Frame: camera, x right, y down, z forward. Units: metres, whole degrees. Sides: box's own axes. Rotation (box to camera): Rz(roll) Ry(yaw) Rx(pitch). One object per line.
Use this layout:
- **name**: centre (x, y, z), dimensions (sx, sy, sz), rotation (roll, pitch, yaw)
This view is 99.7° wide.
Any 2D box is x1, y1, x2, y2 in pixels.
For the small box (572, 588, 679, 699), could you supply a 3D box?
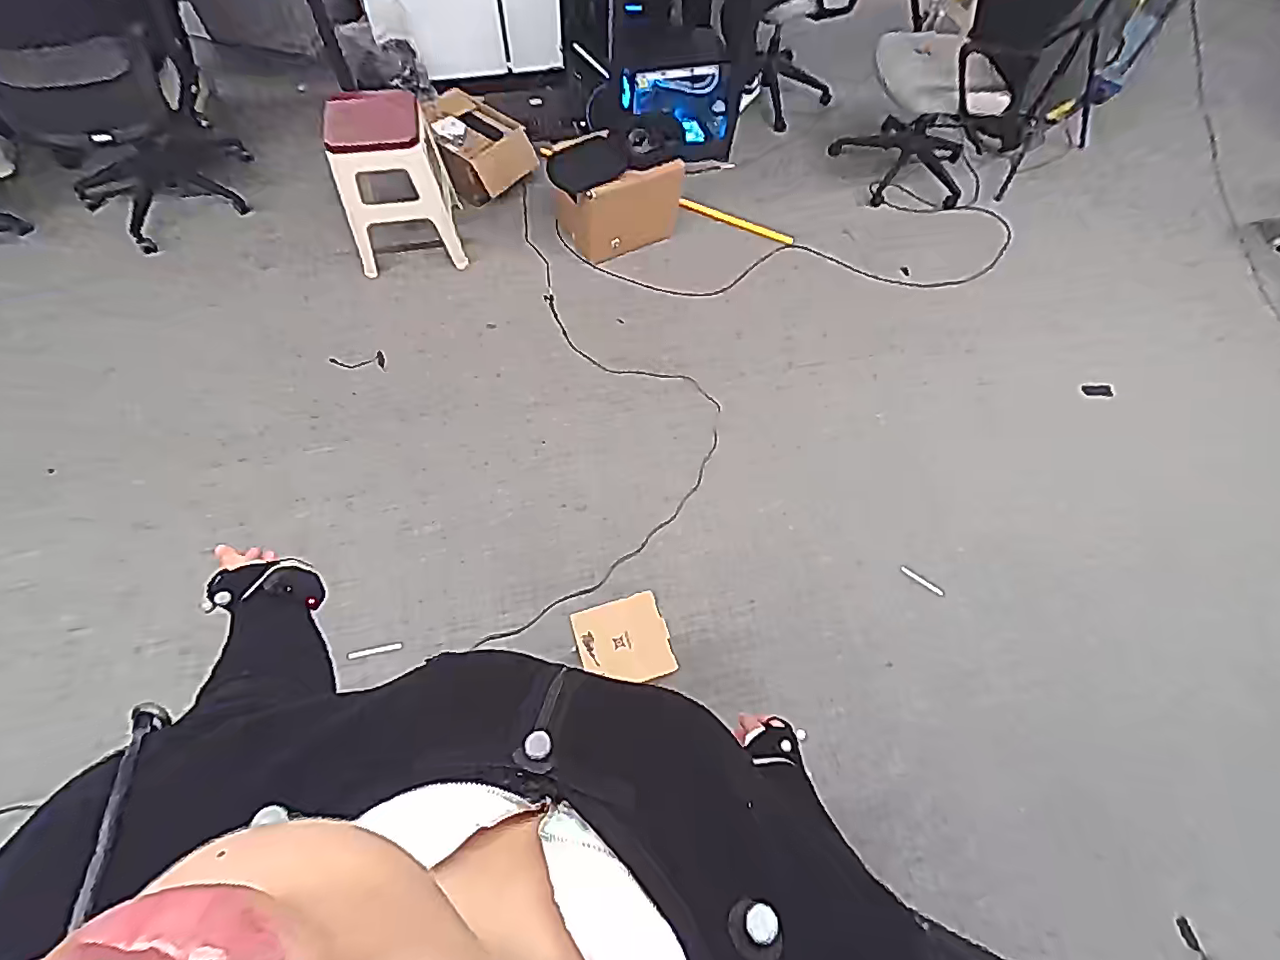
- **small box**: centre (-0.038, 0.345, 1.129), dimensions (0.179, 0.176, 0.168), rotation (-15, 66, -12)

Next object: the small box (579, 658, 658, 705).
- **small box**: centre (-0.065, 0.482, 1.423), dimensions (0.179, 0.176, 0.168), rotation (-14, 65, -10)
